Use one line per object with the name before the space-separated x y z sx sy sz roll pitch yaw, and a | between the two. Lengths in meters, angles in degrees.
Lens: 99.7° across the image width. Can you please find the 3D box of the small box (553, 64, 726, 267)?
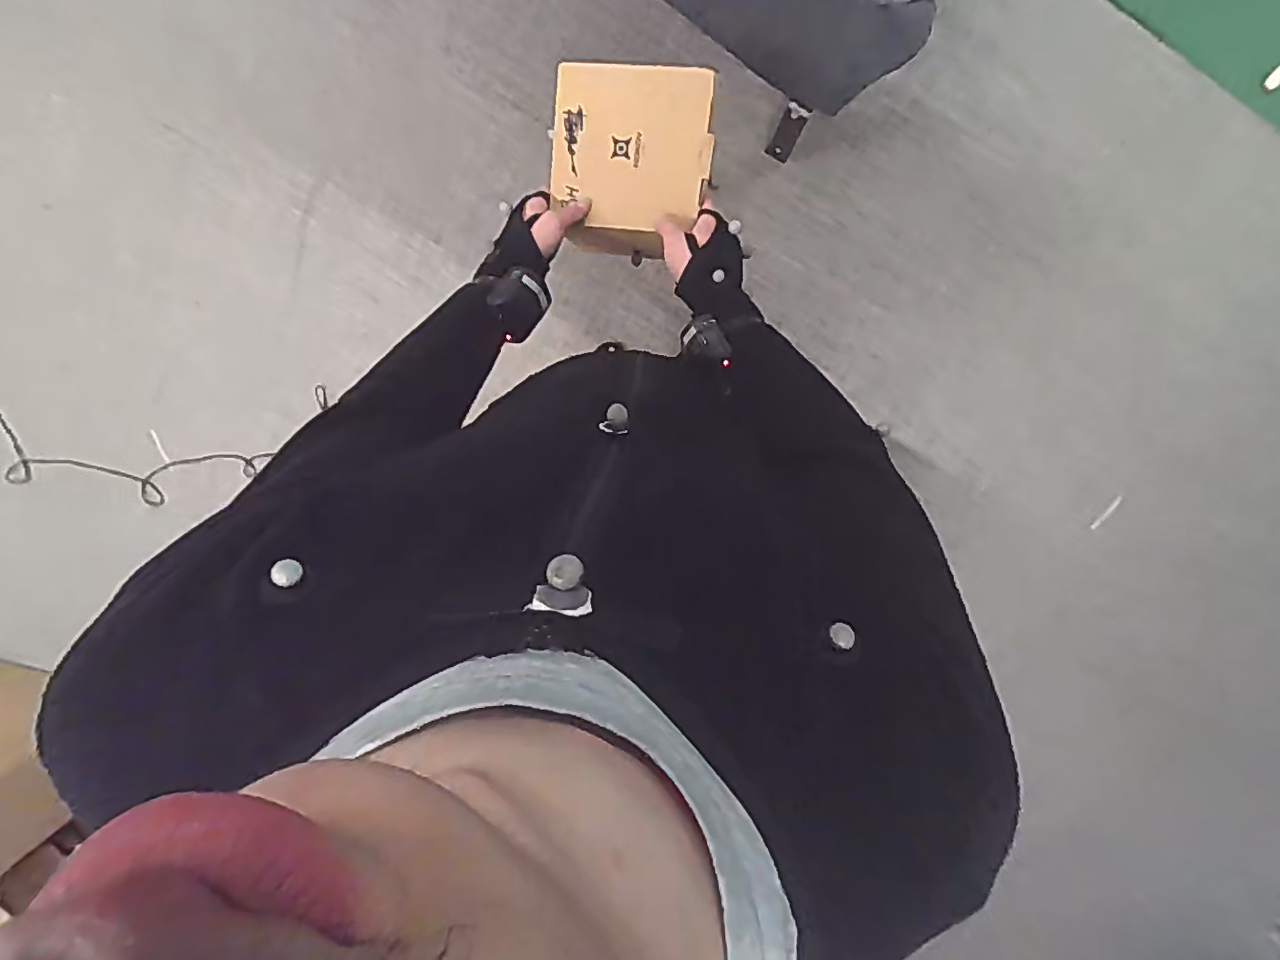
small box | 0.002 -0.365 0.659 0.179 0.176 0.168 6 101 4
